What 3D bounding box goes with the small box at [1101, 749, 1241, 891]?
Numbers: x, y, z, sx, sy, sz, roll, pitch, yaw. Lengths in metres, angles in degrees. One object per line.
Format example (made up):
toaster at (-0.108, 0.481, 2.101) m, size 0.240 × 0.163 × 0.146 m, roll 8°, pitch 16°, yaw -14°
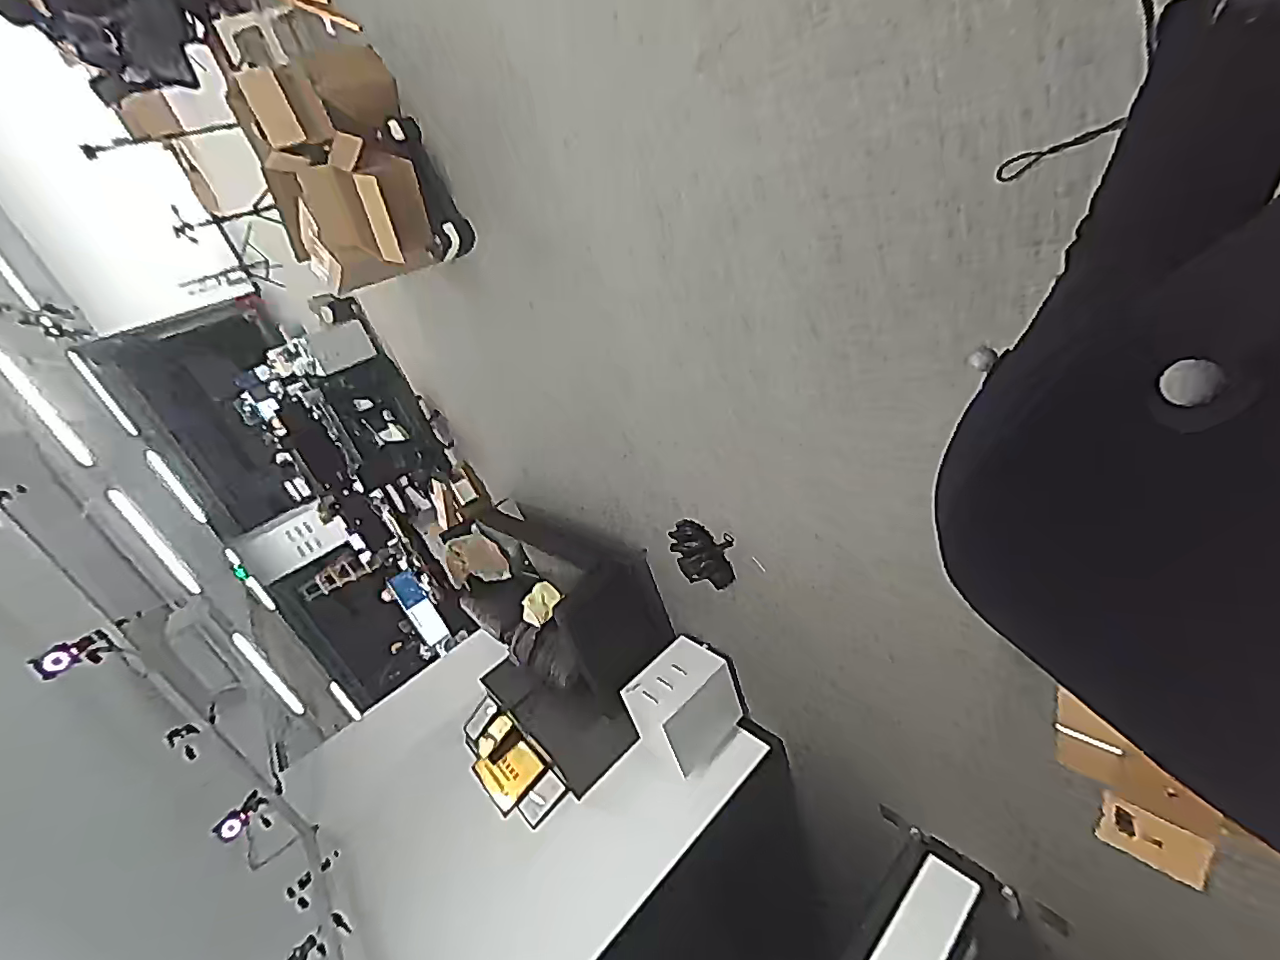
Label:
small box at (1.167, 0.734, 1.193) m, size 0.179 × 0.176 × 0.168 m, roll 20°, pitch 132°, yaw 47°
